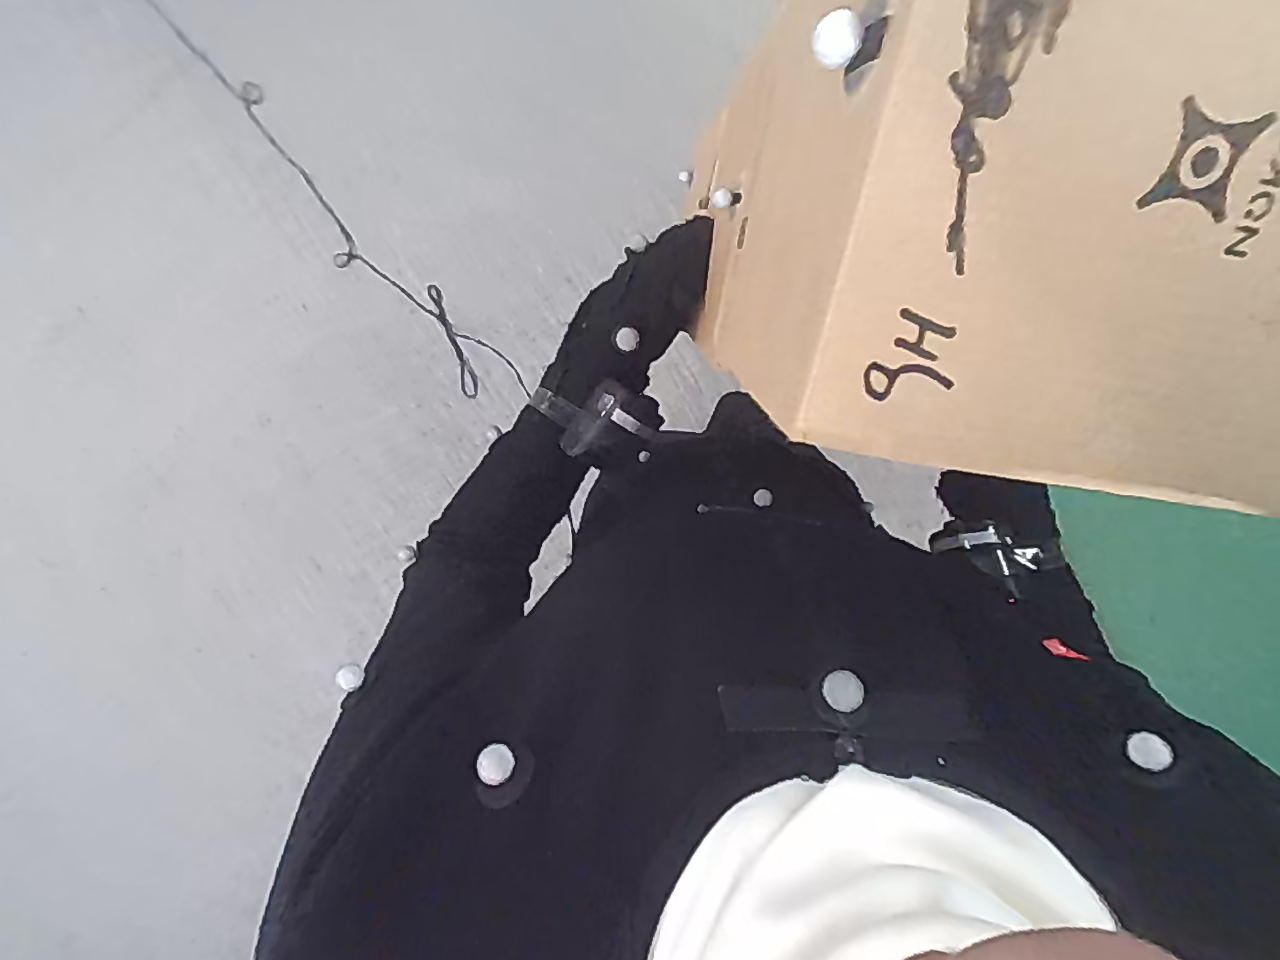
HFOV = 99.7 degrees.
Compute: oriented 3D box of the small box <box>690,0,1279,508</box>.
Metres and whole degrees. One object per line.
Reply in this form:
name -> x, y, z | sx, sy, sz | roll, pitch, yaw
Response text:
small box -> 0.125, -0.107, 0.204 | 0.179, 0.176, 0.168 | 9, 111, -4
